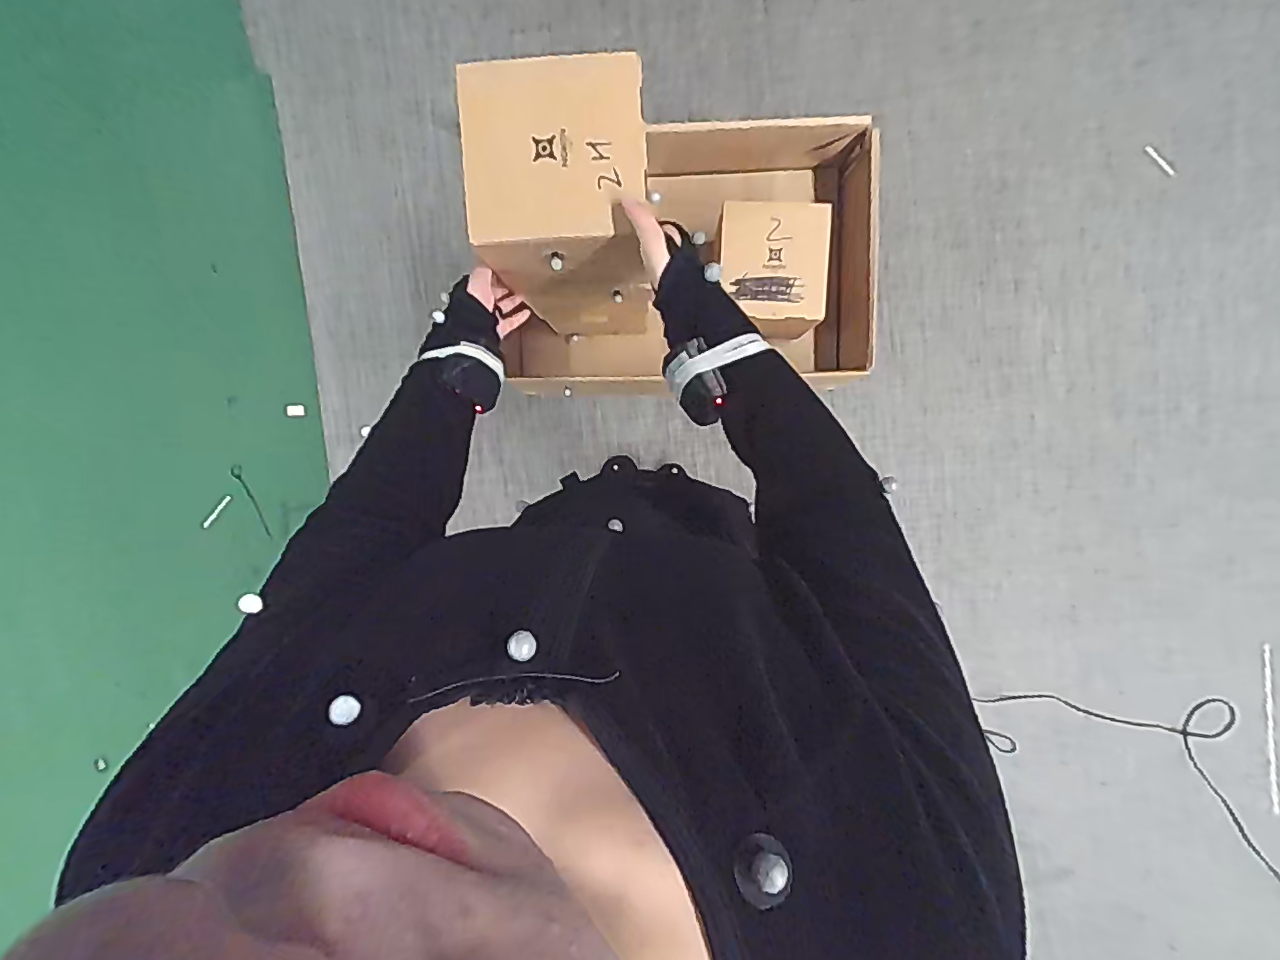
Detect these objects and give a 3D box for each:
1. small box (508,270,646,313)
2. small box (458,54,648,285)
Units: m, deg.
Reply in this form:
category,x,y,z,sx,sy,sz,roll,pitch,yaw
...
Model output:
category,x,y,z,sx,sy,sz,roll,pitch,yaw
small box,-0.080,-0.334,0.754,0.179,0.176,0.168,-2,95,0
small box,-0.081,-0.318,0.589,0.179,0.176,0.168,-2,95,0
